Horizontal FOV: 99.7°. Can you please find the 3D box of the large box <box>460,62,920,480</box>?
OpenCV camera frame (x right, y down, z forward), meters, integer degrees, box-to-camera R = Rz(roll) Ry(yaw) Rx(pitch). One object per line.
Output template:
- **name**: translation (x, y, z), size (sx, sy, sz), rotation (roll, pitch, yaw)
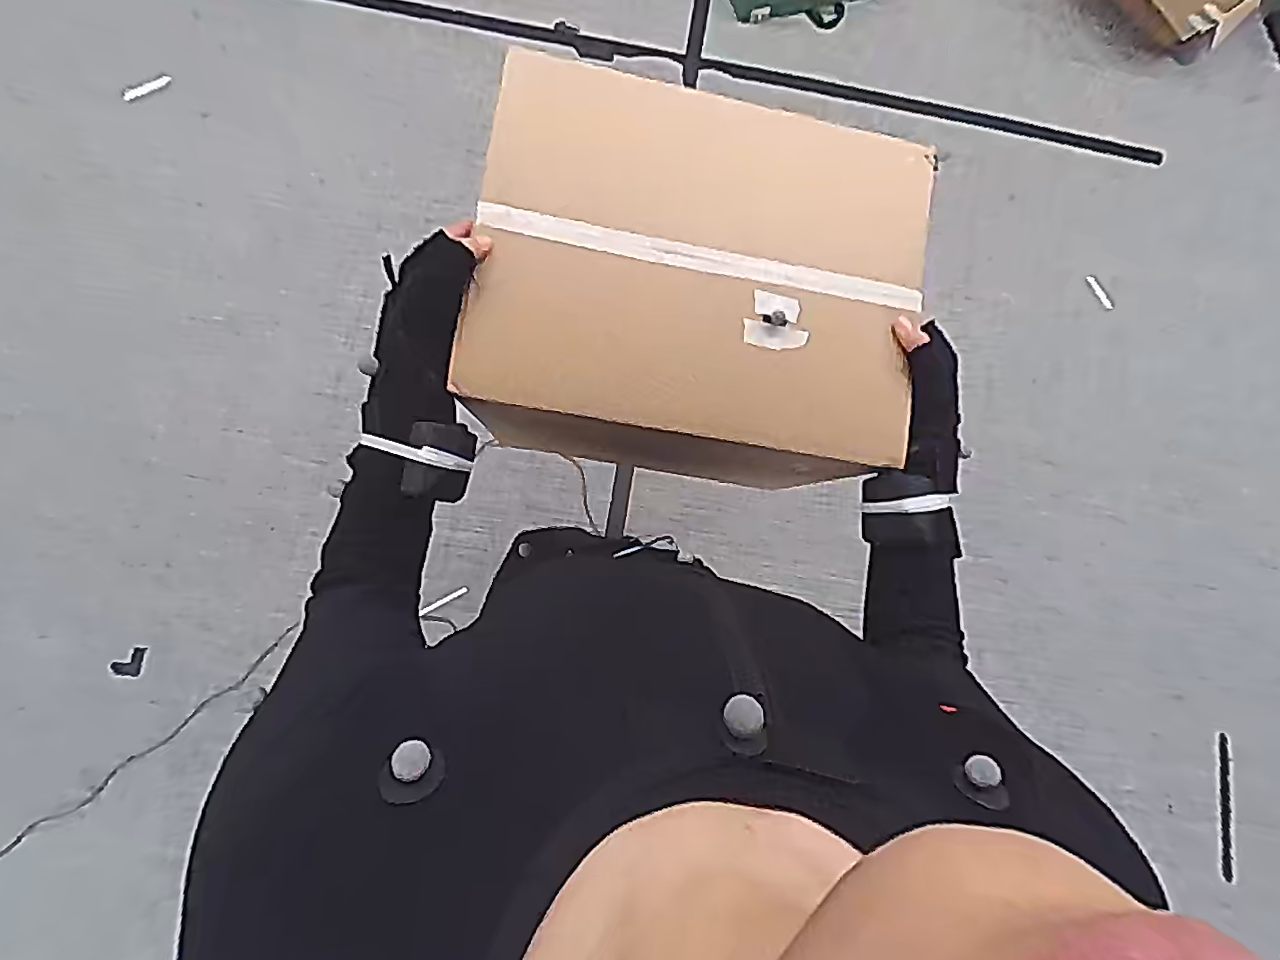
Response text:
- **large box**: translation (0.040, -0.187, 0.639), size (0.408, 0.320, 0.320), rotation (9, 86, -7)
